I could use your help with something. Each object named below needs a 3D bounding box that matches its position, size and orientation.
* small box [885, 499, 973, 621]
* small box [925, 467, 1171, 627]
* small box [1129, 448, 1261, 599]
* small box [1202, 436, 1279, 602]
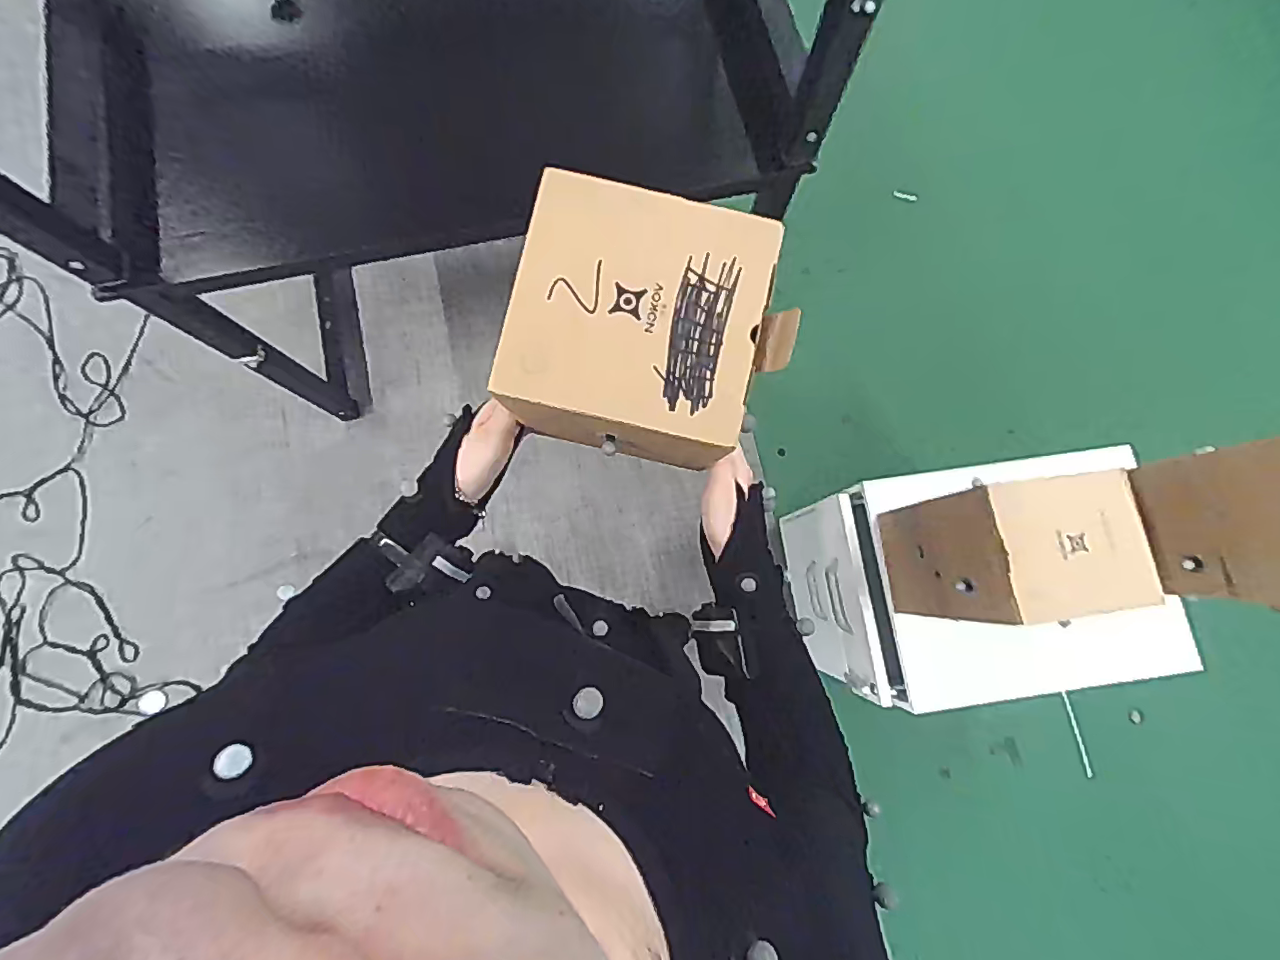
[{"bbox_3d":[0.509,0.122,0.850,0.168,0.176,0.179,-5,80,-3],"label":"small box"},{"bbox_3d":[0.494,0.089,0.691,0.179,0.176,0.168,-8,80,-4],"label":"small box"},{"bbox_3d":[0.744,0.059,0.702,0.168,0.176,0.179,-4,80,-2],"label":"small box"},{"bbox_3d":[0.740,0.025,0.541,0.168,0.176,0.179,-12,81,-2],"label":"small box"}]
